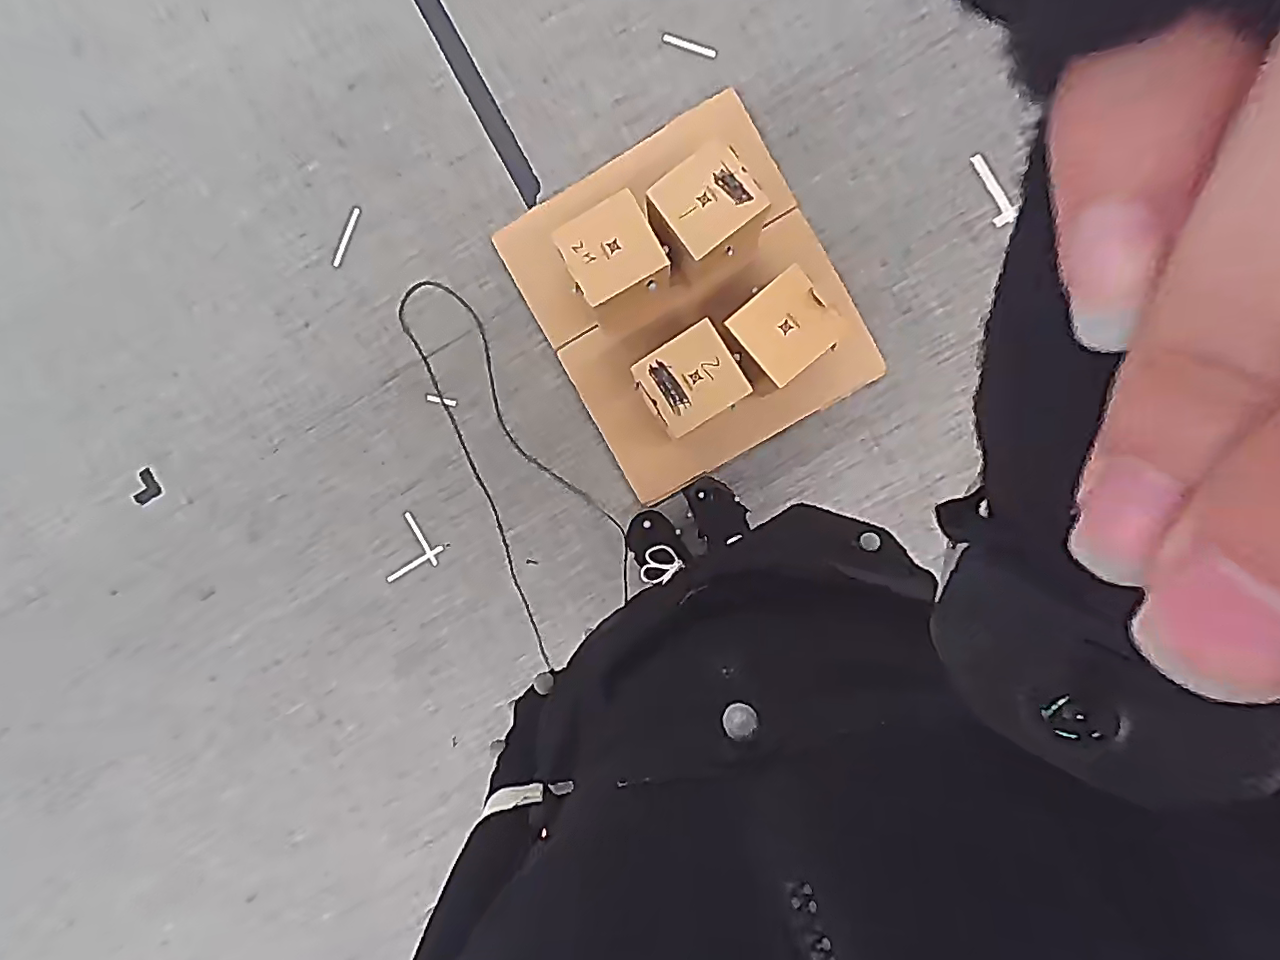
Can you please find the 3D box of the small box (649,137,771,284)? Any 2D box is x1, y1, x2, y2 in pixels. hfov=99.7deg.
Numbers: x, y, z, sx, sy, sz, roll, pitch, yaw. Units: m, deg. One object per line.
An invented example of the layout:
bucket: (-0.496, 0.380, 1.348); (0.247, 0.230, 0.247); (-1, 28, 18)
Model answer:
small box: (0.135, -0.532, 1.093); (0.179, 0.176, 0.168); (-37, 90, 5)

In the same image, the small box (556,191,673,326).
small box: (-0.047, -0.443, 1.110); (0.179, 0.176, 0.168); (-28, 91, 4)
